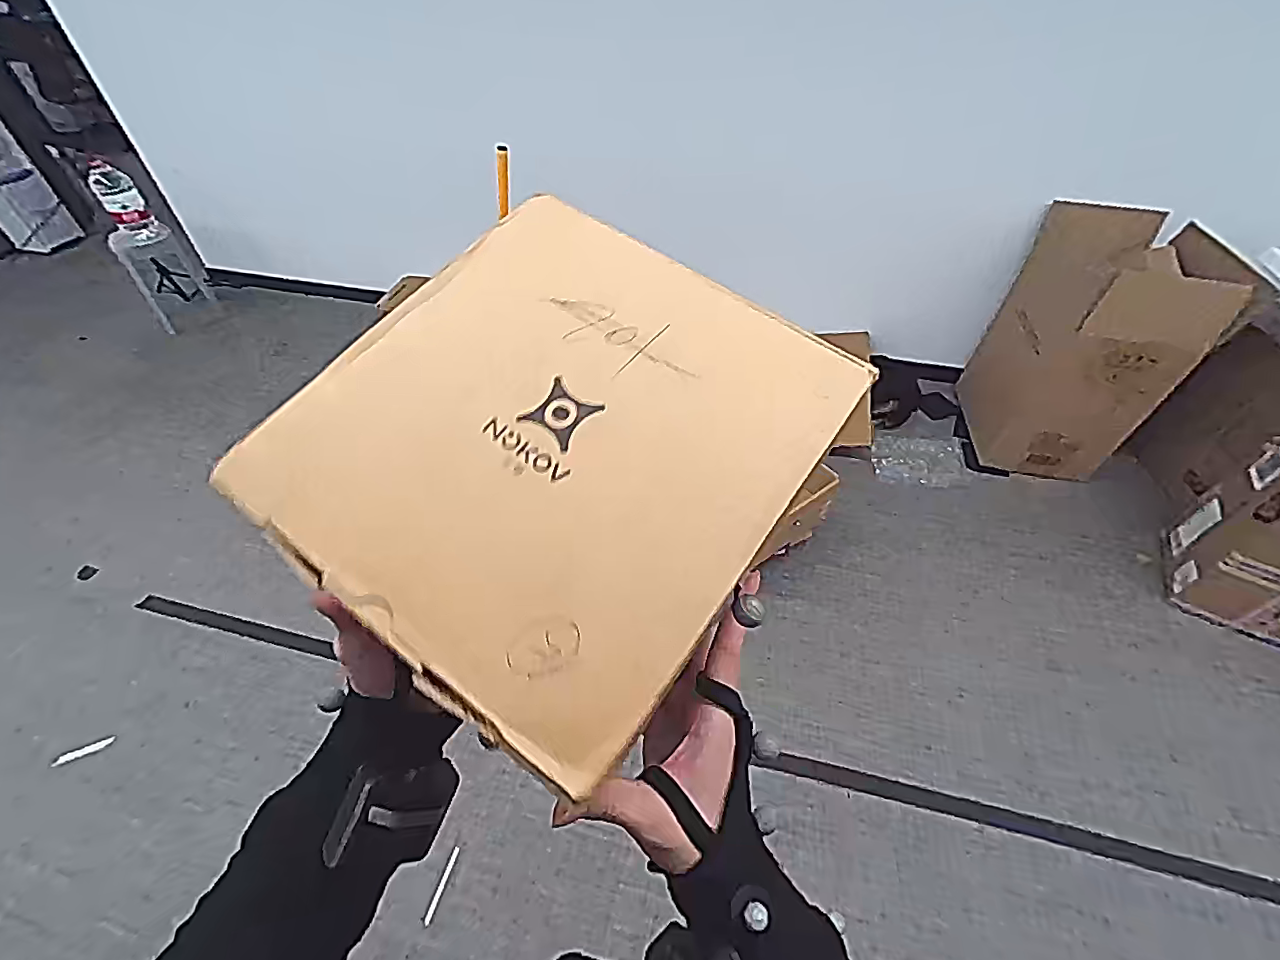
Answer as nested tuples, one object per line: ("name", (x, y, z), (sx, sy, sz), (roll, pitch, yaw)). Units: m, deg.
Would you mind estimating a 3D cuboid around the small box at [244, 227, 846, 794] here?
("small box", (-0.030, 0.020, 0.277), (0.168, 0.176, 0.179), (32, 69, 14))
